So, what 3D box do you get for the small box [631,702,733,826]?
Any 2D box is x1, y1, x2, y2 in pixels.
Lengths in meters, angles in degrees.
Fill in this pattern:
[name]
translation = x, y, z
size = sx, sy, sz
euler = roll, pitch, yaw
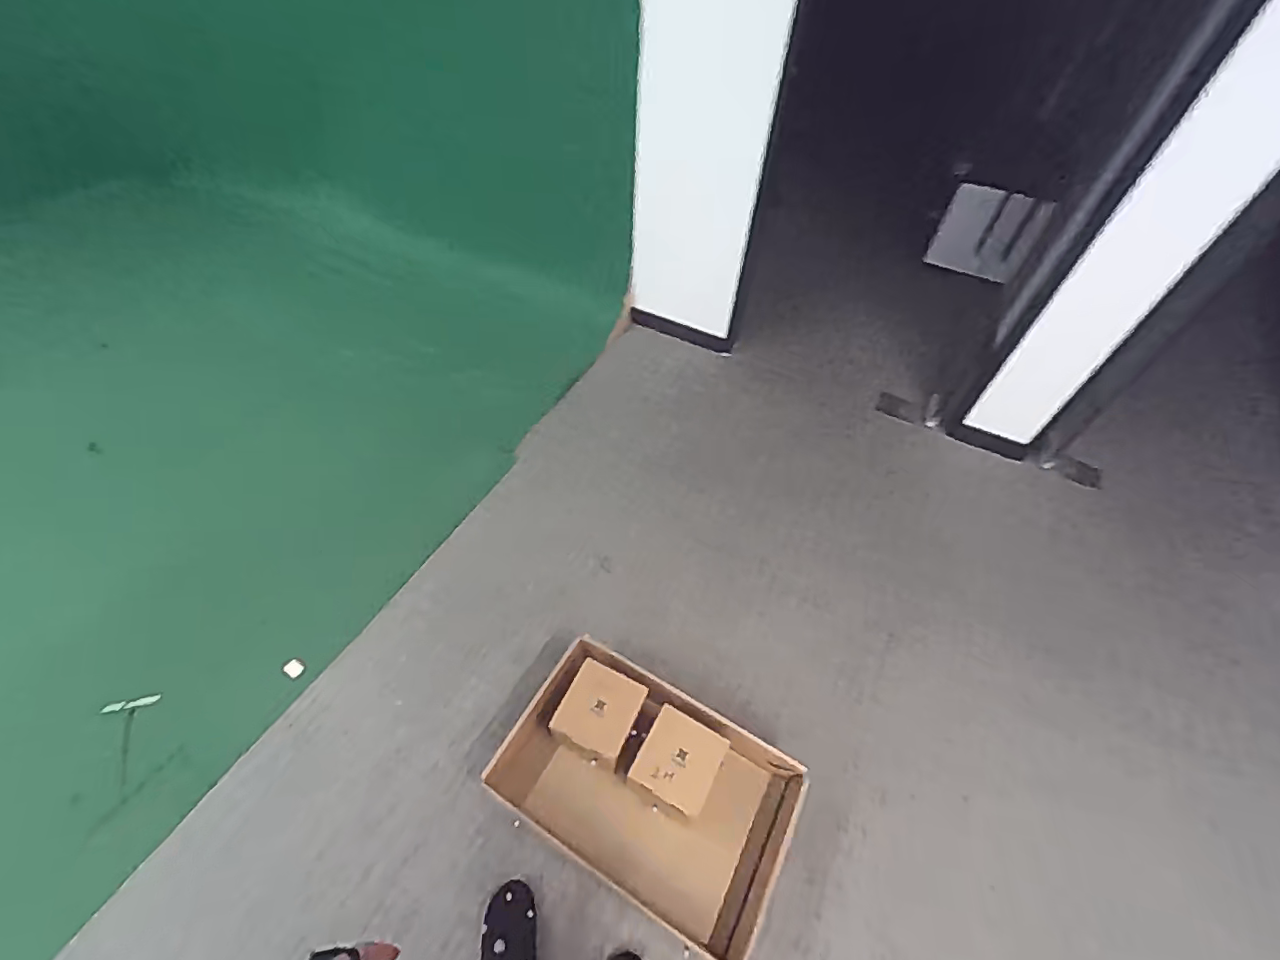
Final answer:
[small box]
translation = 0.089, 0.644, 1.223
size = 0.168, 0.176, 0.179
euler = 26, 56, 18
